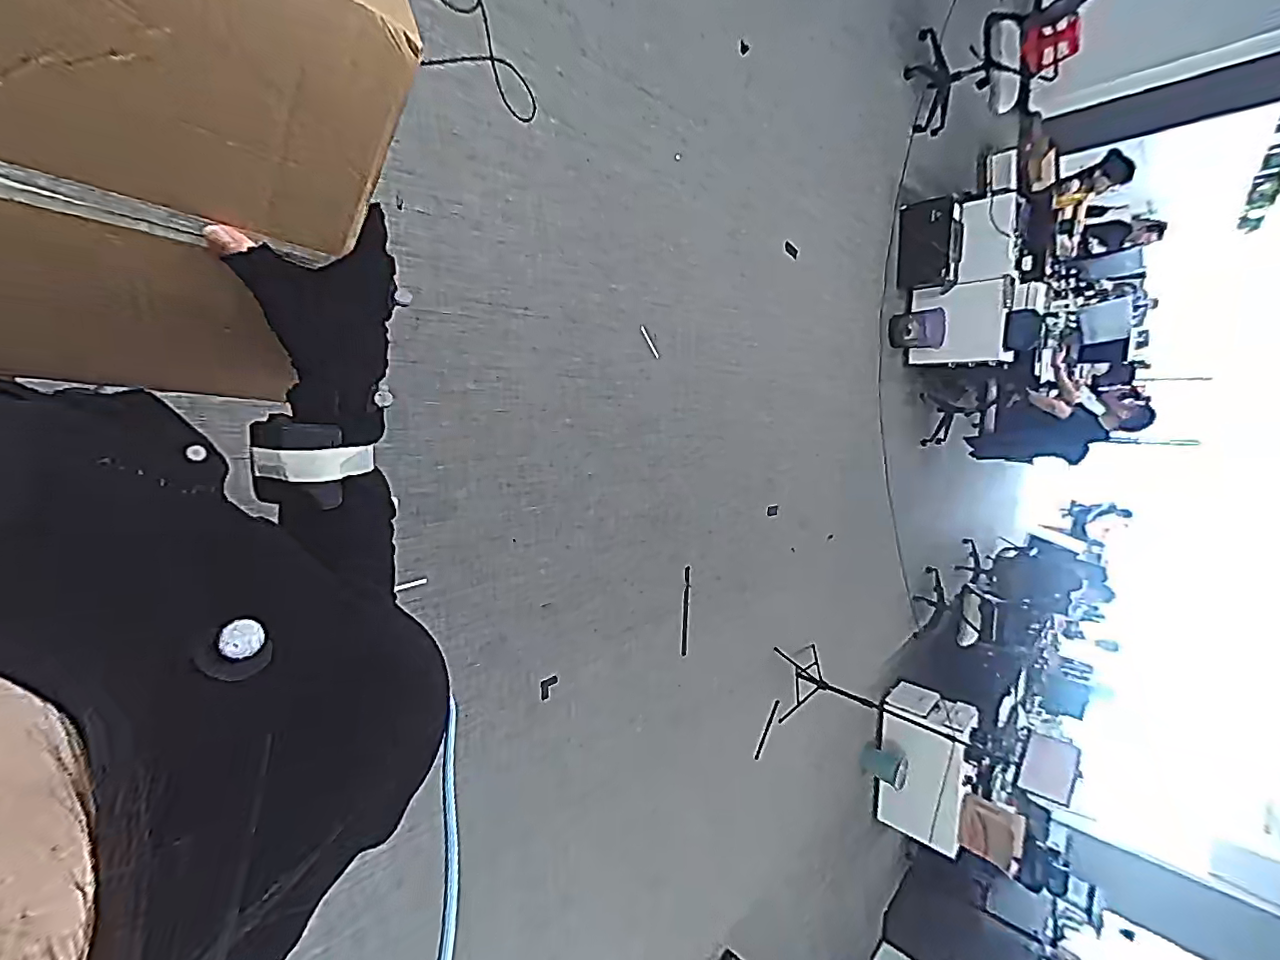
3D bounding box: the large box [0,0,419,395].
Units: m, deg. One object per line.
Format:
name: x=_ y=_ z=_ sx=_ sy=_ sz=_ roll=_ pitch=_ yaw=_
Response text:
large box: x=-0.399 y=-0.278 z=0.289 sx=0.408 sy=0.320 sz=0.320 roll=0 pitch=61 yaw=-44
